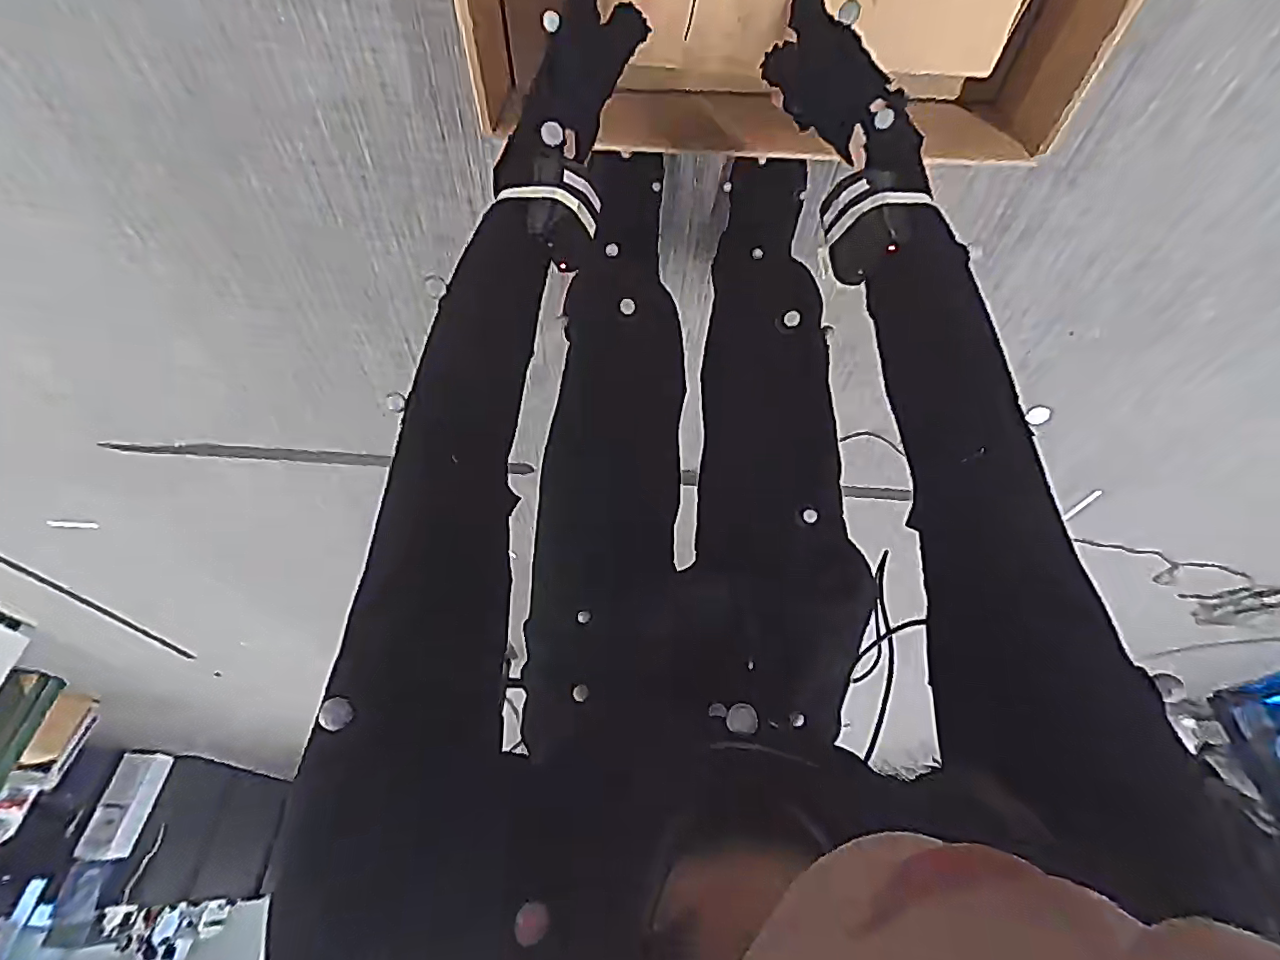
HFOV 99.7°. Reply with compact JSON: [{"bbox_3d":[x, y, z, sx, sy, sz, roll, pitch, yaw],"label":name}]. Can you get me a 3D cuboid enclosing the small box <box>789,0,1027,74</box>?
[{"bbox_3d":[0.249,-0.498,0.487,0.179,0.176,0.168,3,144,-1],"label":"small box"}]
